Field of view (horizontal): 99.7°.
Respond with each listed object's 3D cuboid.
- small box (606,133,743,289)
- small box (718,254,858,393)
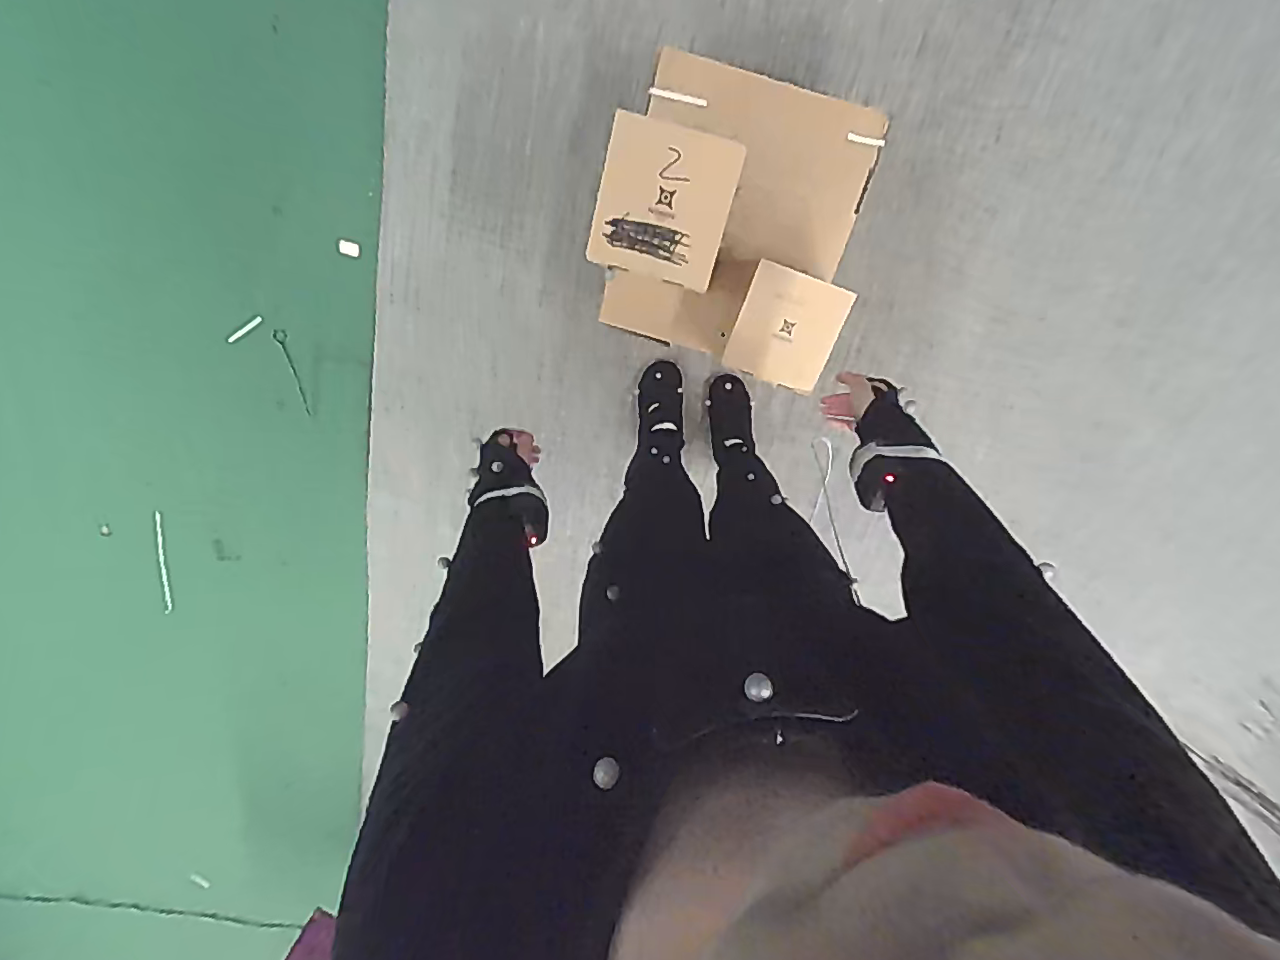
[{"bbox_3d":[0.054,-0.430,0.896,0.168,0.176,0.179,19,109,-2],"label":"small box"},{"bbox_3d":[0.242,-0.273,0.940,0.168,0.176,0.179,19,109,-5],"label":"small box"}]
